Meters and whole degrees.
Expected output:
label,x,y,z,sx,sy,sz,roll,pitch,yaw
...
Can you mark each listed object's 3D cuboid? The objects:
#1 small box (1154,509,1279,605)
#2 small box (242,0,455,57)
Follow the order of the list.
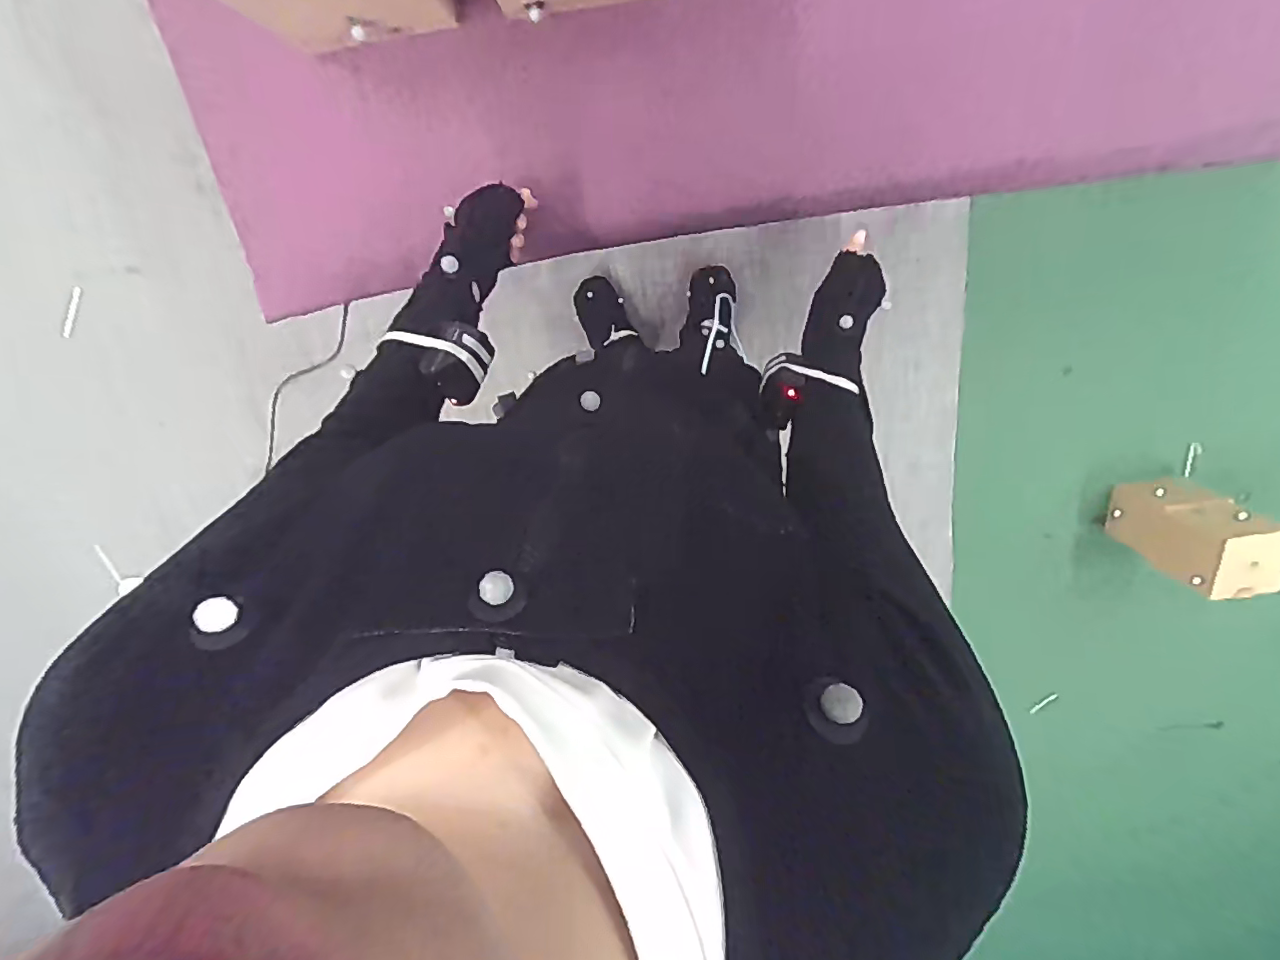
label,x,y,z,sx,sy,sz,roll,pitch,yaw
small box,1.448,0.184,1.349,0.168,0.176,0.179,-9,113,4
small box,-0.277,-0.501,0.456,0.168,0.176,0.179,-7,112,3
